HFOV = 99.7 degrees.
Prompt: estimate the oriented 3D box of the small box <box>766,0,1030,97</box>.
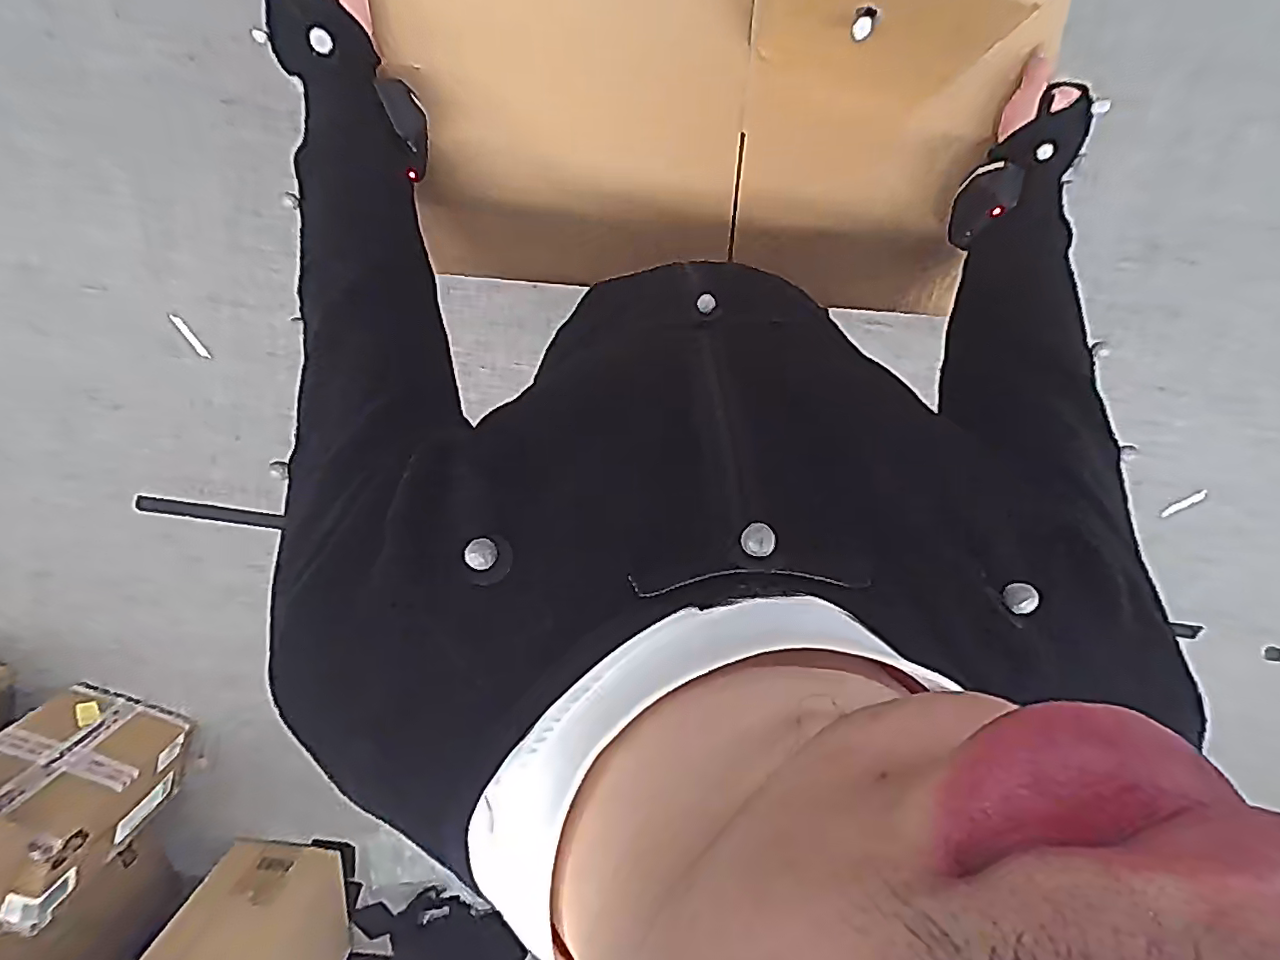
[{"bbox_3d":[0.219,-0.452,0.439,0.179,0.176,0.168,14,104,-3],"label":"small box"}]
